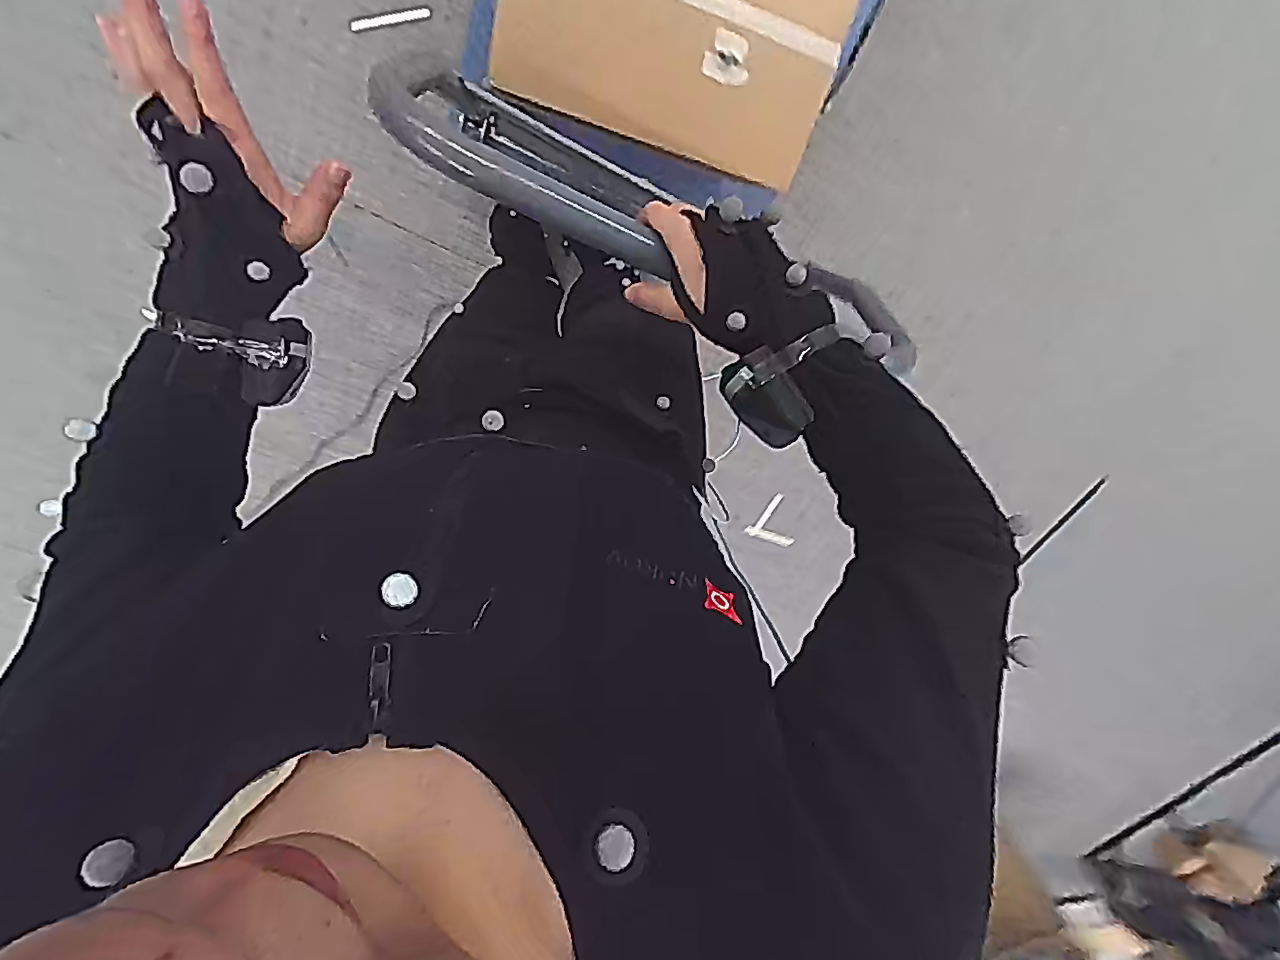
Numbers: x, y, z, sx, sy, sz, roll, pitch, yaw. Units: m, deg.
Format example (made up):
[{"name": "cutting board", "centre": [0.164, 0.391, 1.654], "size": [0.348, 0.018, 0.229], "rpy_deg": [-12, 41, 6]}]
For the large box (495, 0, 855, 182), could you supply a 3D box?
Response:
[{"name": "large box", "centre": [0.030, -0.642, 0.741], "size": [0.408, 0.320, 0.320], "rpy_deg": [9, 120, -16]}]
